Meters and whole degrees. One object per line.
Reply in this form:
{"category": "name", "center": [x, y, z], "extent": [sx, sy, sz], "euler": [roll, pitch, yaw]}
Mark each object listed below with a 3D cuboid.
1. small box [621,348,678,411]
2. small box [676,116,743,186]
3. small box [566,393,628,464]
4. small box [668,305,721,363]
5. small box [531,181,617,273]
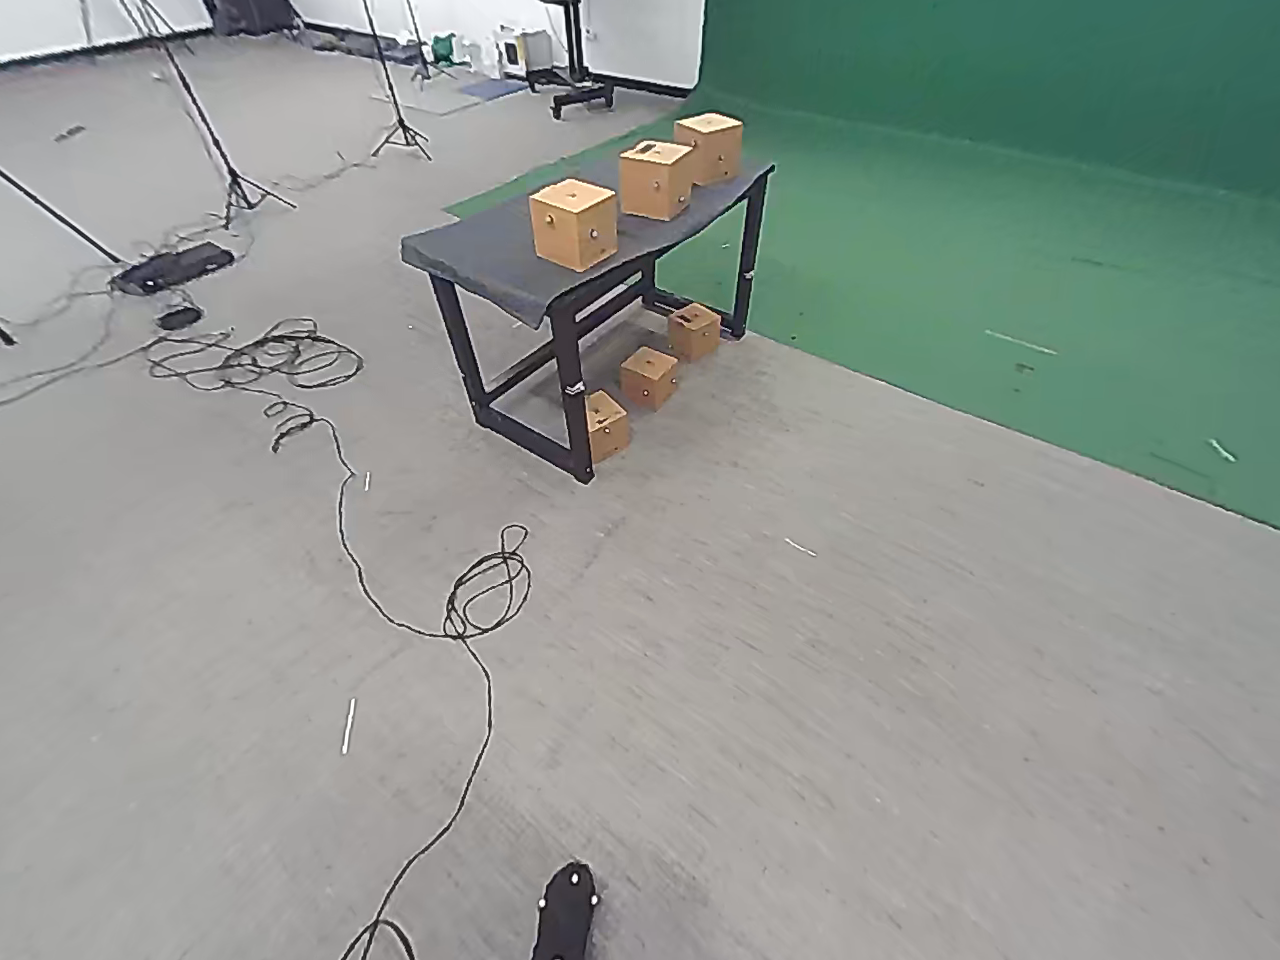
{"category": "small box", "center": [0.039, -0.406, 2.221], "extent": [0.179, 0.176, 0.168], "euler": [26, 53, 23]}
{"category": "small box", "center": [0.240, -1.152, 1.900], "extent": [0.168, 0.176, 0.179], "euler": [-26, 51, -21]}
{"category": "small box", "center": [-0.160, -0.194, 2.037], "extent": [0.168, 0.176, 0.179], "euler": [-29, 54, -22]}
{"category": "small box", "center": [0.241, -0.657, 2.438], "extent": [0.179, 0.176, 0.168], "euler": [-32, 56, -26]}
{"category": "small box", "center": [-0.177, -0.706, 1.517], "extent": [0.179, 0.176, 0.168], "euler": [30, 55, 24]}
